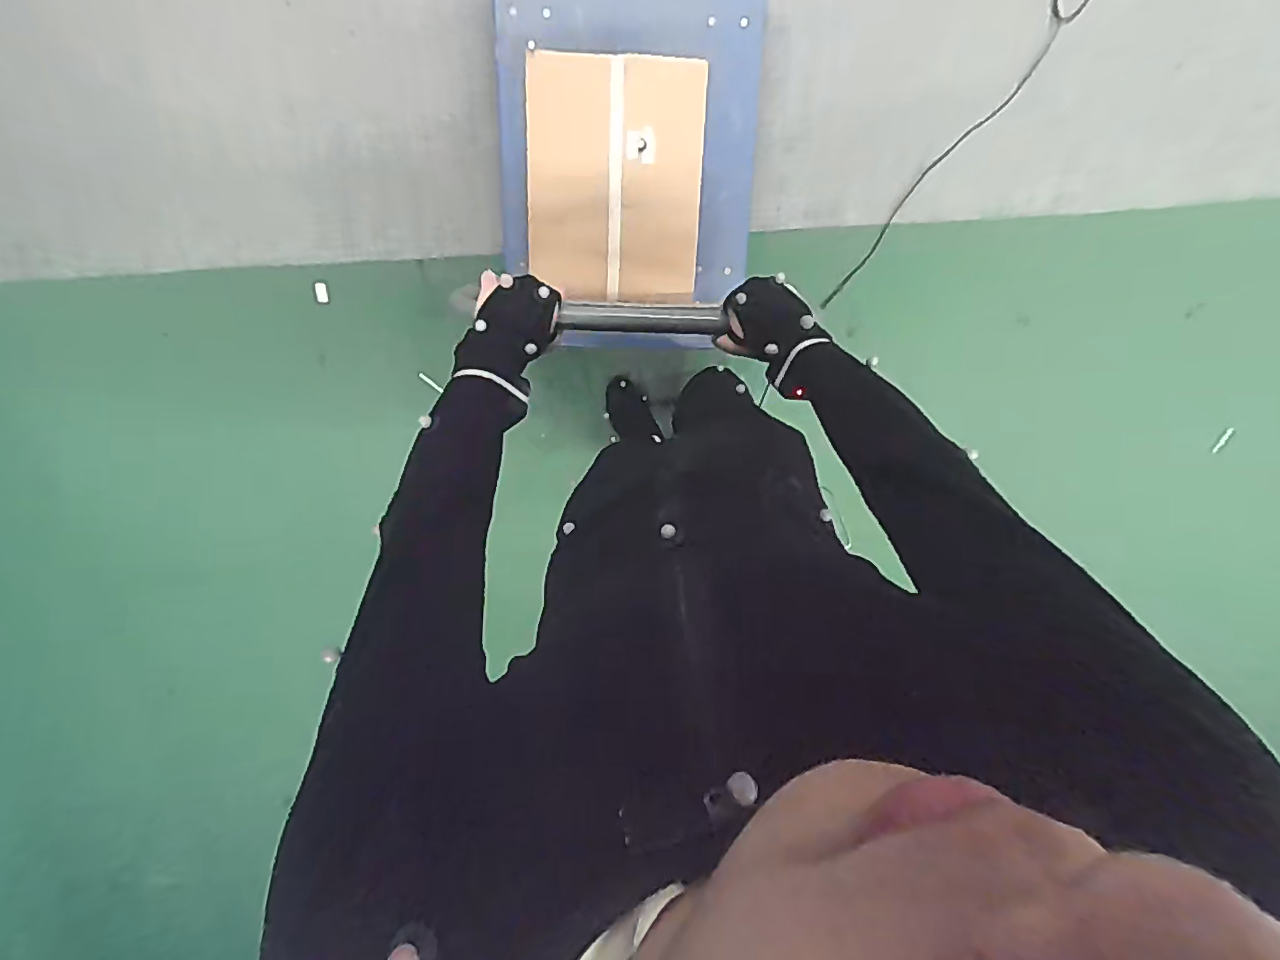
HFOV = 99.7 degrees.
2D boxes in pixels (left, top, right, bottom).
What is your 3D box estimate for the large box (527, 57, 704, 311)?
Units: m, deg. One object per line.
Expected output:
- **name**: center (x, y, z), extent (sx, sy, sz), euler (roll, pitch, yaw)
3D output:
- **large box**: center (-0.050, -0.566, 1.123), extent (0.320, 0.320, 0.408), euler (1, 105, -3)
